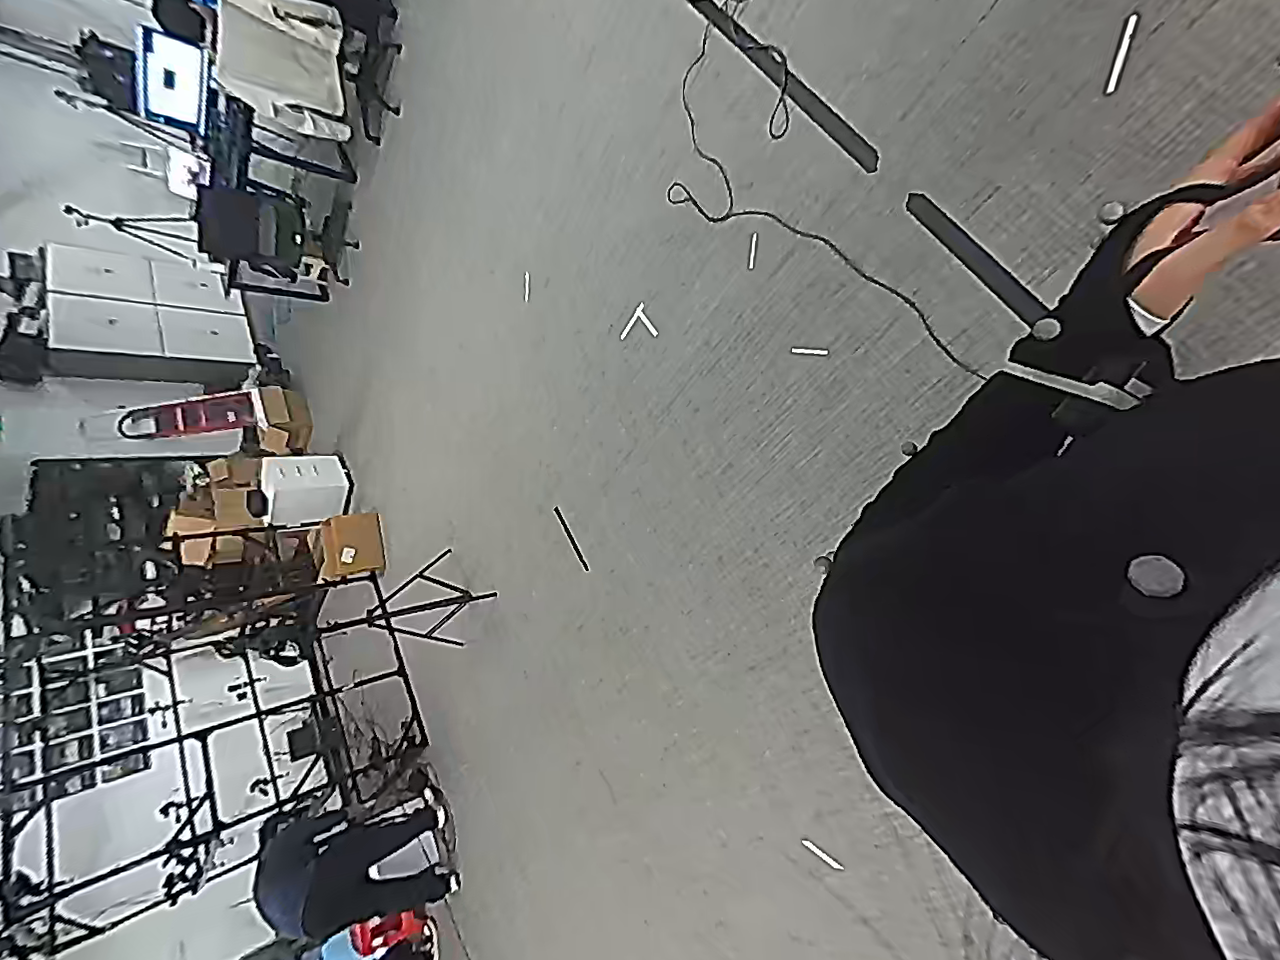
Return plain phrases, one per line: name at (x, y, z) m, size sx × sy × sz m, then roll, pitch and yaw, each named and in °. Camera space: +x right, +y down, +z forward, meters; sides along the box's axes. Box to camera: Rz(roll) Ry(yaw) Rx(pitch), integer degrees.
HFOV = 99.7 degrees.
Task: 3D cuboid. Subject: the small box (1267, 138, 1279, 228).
small box at (0.459, -0.234, 0.271) m, size 0.168 × 0.176 × 0.179 m, roll 13°, pitch 111°, yaw 44°
